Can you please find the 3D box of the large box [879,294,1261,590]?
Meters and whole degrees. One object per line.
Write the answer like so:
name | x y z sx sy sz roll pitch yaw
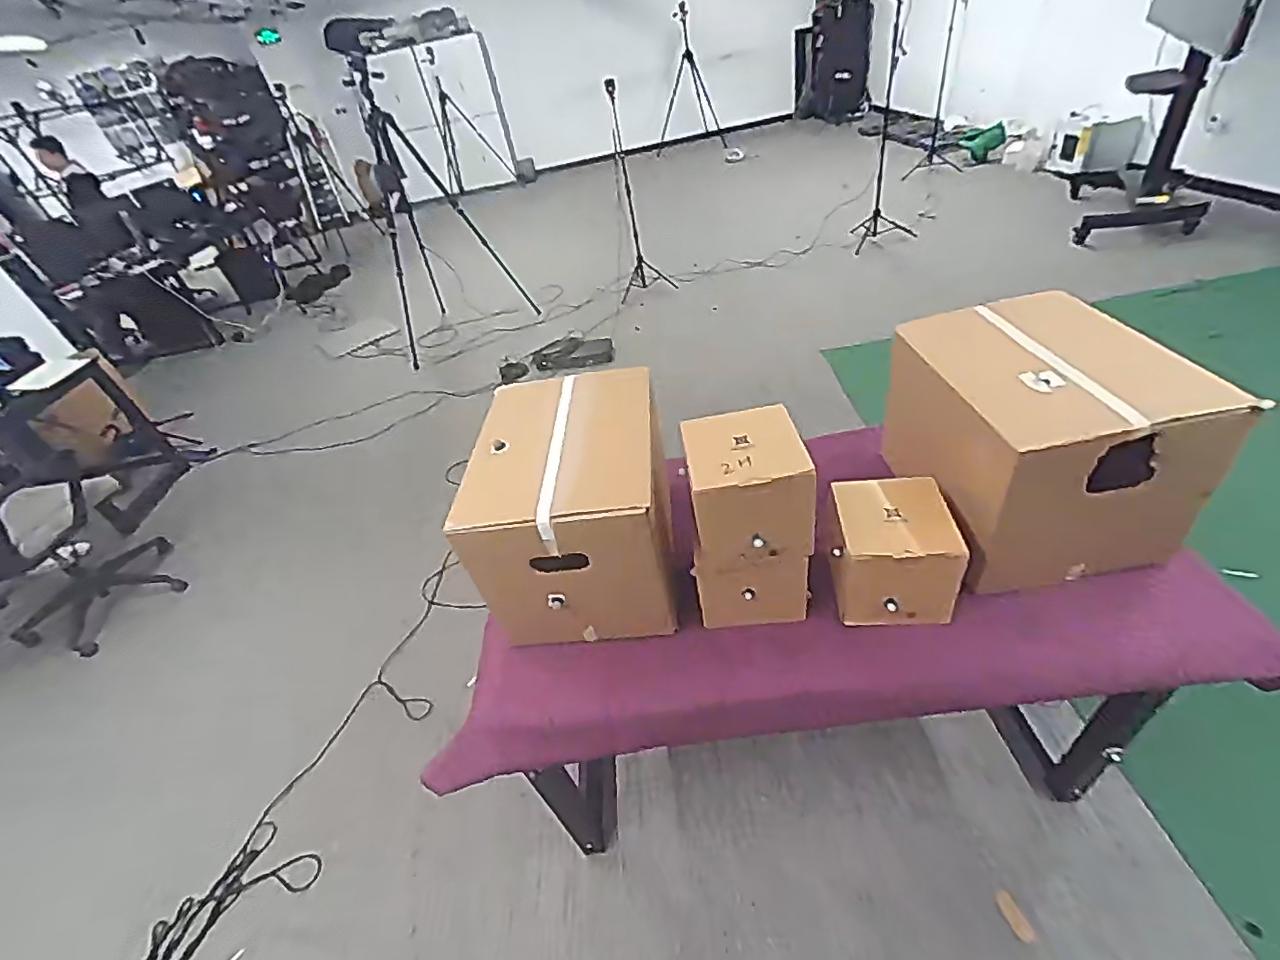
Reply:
large box | 0.664 -0.078 0.949 0.320 0.320 0.408 -12 40 5

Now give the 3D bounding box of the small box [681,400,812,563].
small box | 0.159 0.002 0.839 0.168 0.176 0.179 -10 40 5
